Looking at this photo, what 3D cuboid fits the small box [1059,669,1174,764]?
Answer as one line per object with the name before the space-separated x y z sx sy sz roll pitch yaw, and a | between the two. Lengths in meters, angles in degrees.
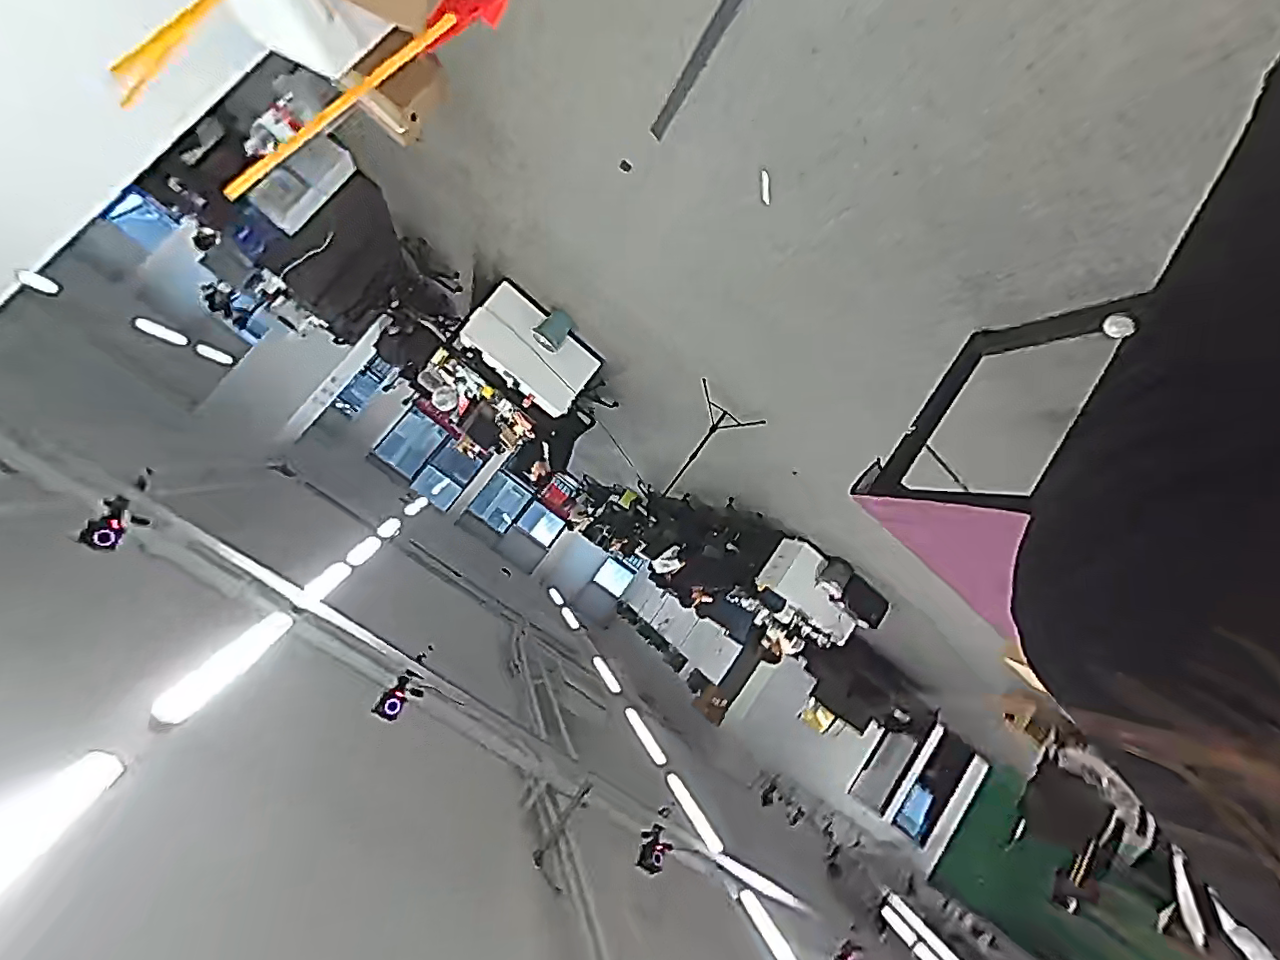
small box | 1.405 0.683 1.588 0.168 0.176 0.179 38 172 -6
